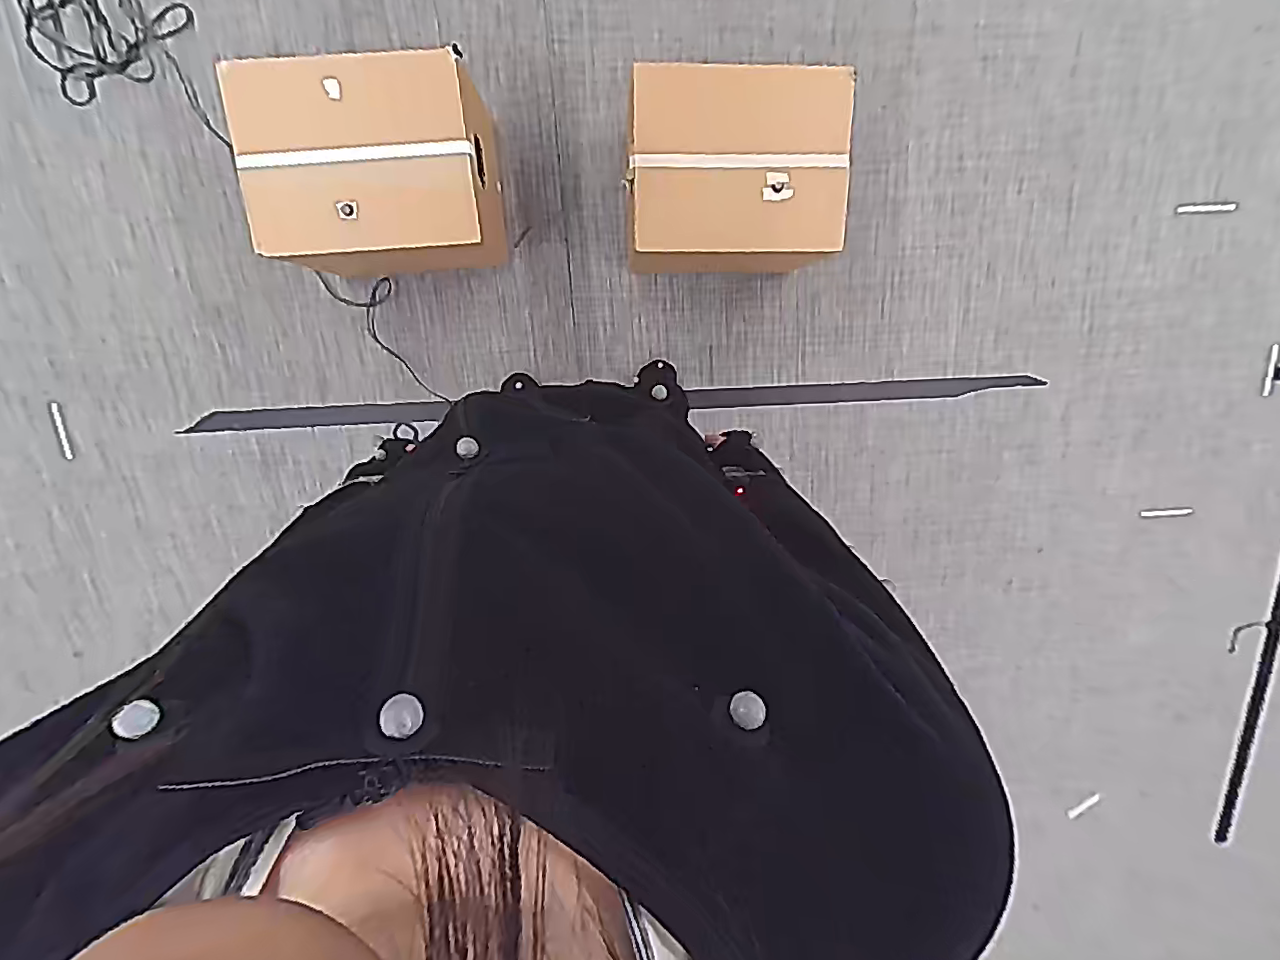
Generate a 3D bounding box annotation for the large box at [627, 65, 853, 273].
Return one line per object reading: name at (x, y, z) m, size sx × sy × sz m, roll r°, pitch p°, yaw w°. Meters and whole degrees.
large box at (0.182, -0.627, 1.151) m, size 0.408 × 0.320 × 0.320 m, roll -1°, pitch 104°, yaw -4°
